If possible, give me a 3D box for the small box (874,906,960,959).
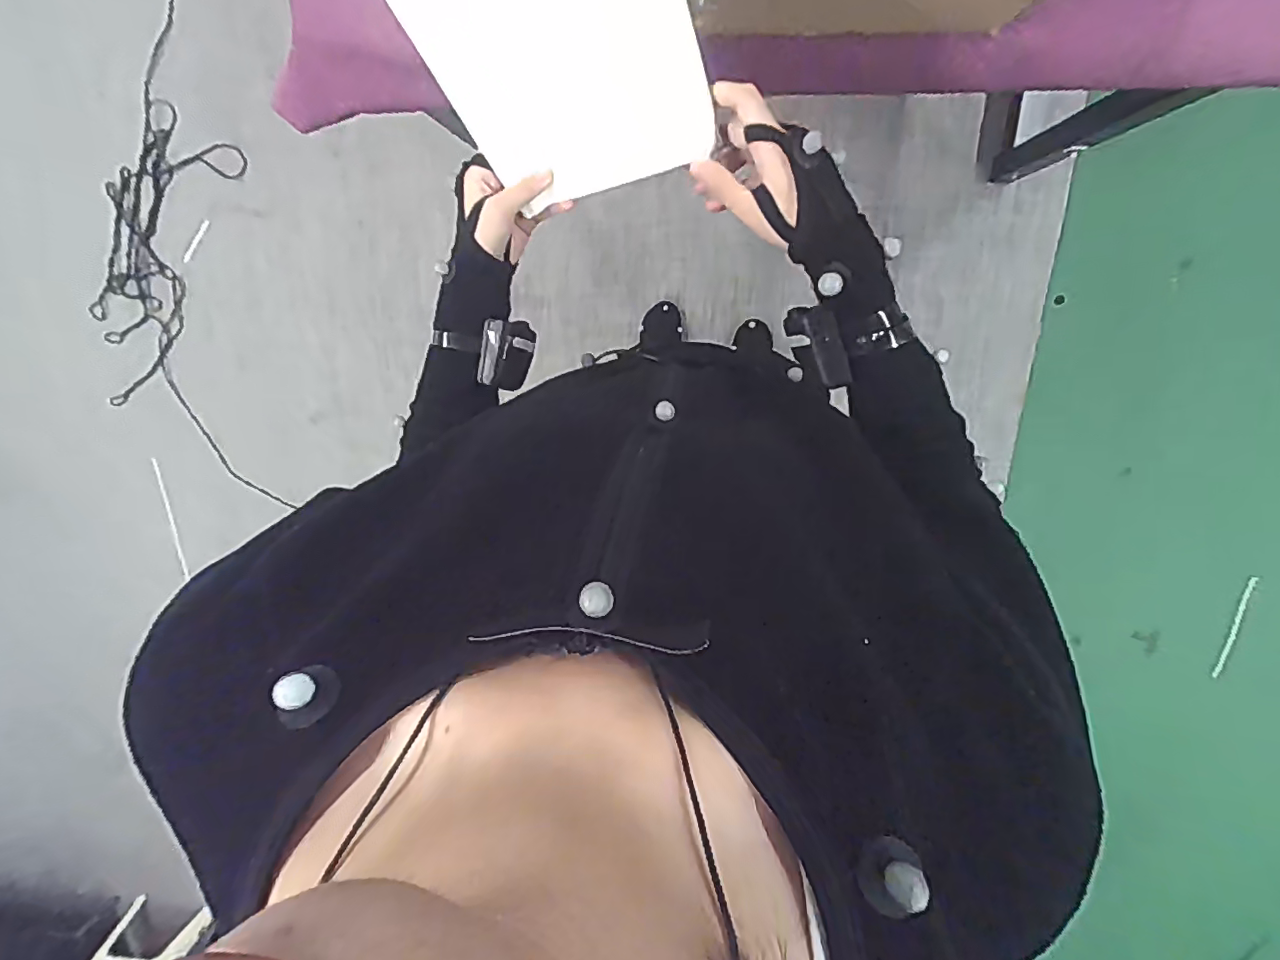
[{"bbox_3d":[0.718,1.238,1.393,0.168,0.176,0.179,-11,104,10],"label":"small box"}]
